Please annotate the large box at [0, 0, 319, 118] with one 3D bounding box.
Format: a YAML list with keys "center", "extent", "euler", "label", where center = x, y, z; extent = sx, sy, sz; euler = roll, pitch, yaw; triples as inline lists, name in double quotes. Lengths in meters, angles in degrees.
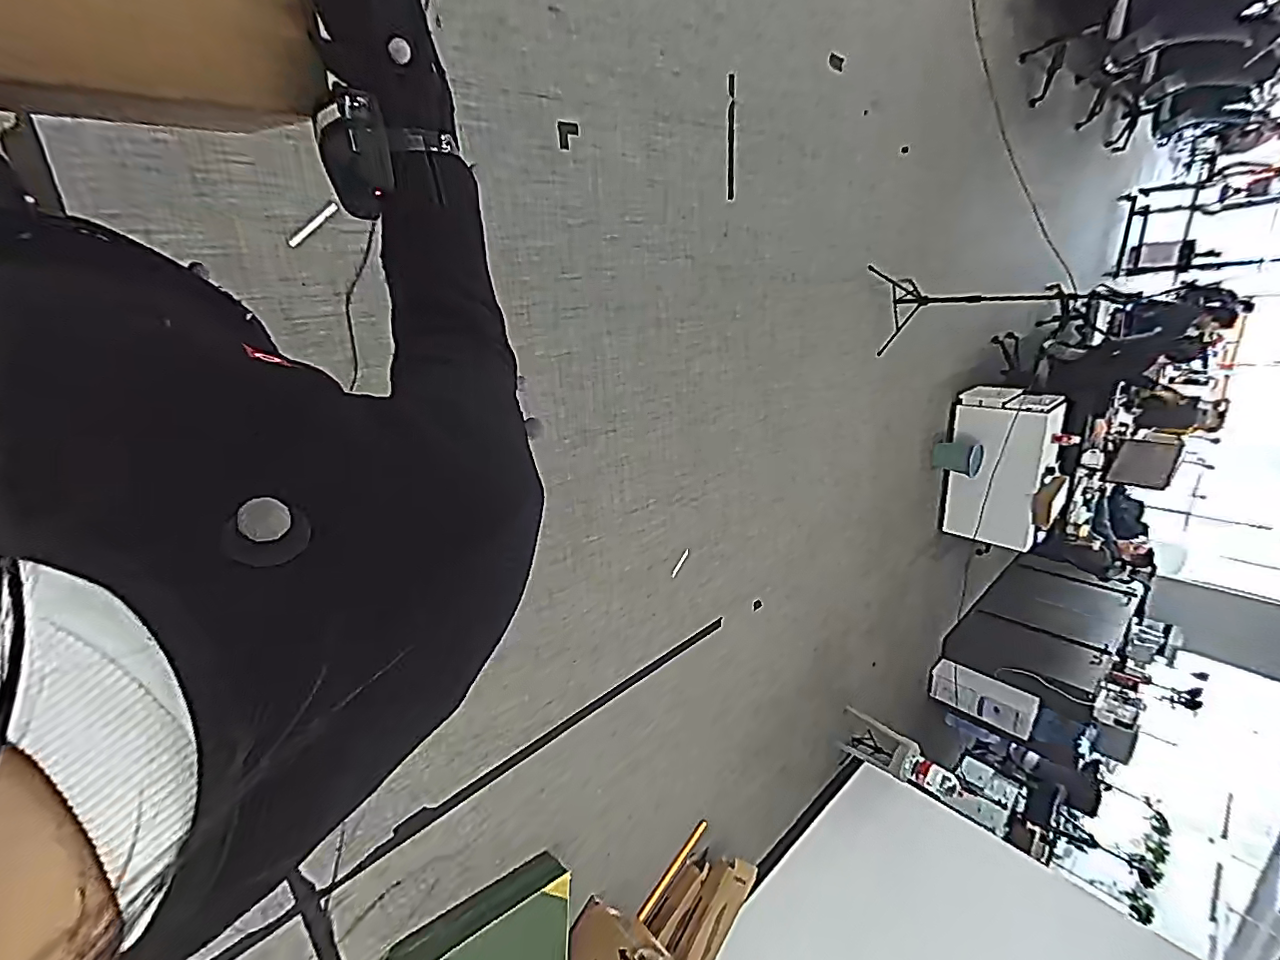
- center: [-0.462, -0.399, 0.285]
  extent: [0.408, 0.320, 0.320]
  euler: [-20, 127, -36]
  label: "large box"
